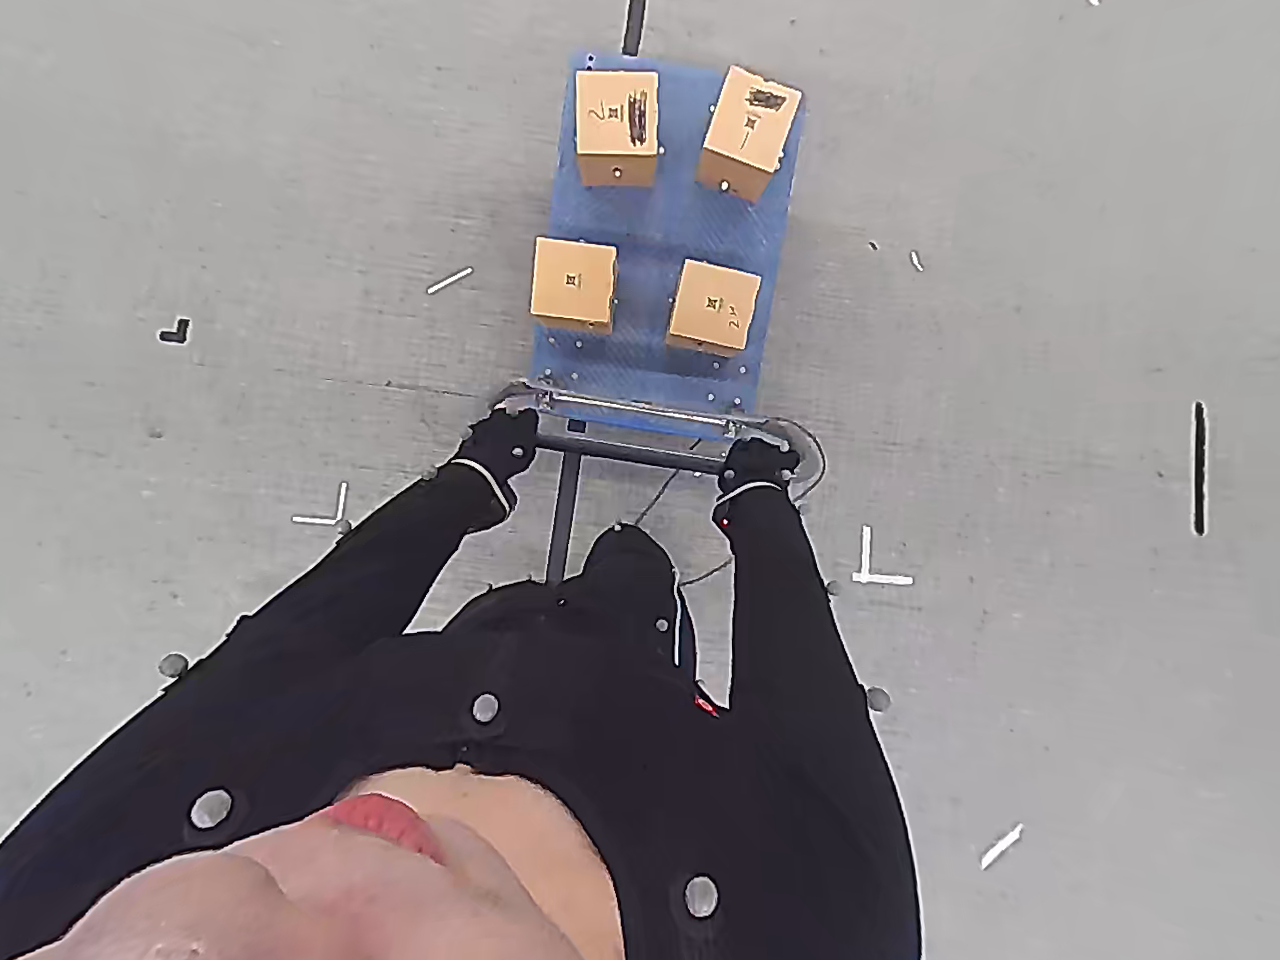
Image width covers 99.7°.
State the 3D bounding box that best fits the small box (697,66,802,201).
[{"bbox_3d":[0.239,-0.776,1.231,0.168,0.176,0.179,19,97,-3],"label":"small box"}]

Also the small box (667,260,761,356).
[{"bbox_3d":[0.165,-0.395,1.273,0.179,0.176,0.168,13,97,-3],"label":"small box"}]

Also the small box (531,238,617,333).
[{"bbox_3d":[-0.148,-0.445,1.261,0.179,0.176,0.168,6,96,-4],"label":"small box"}]
